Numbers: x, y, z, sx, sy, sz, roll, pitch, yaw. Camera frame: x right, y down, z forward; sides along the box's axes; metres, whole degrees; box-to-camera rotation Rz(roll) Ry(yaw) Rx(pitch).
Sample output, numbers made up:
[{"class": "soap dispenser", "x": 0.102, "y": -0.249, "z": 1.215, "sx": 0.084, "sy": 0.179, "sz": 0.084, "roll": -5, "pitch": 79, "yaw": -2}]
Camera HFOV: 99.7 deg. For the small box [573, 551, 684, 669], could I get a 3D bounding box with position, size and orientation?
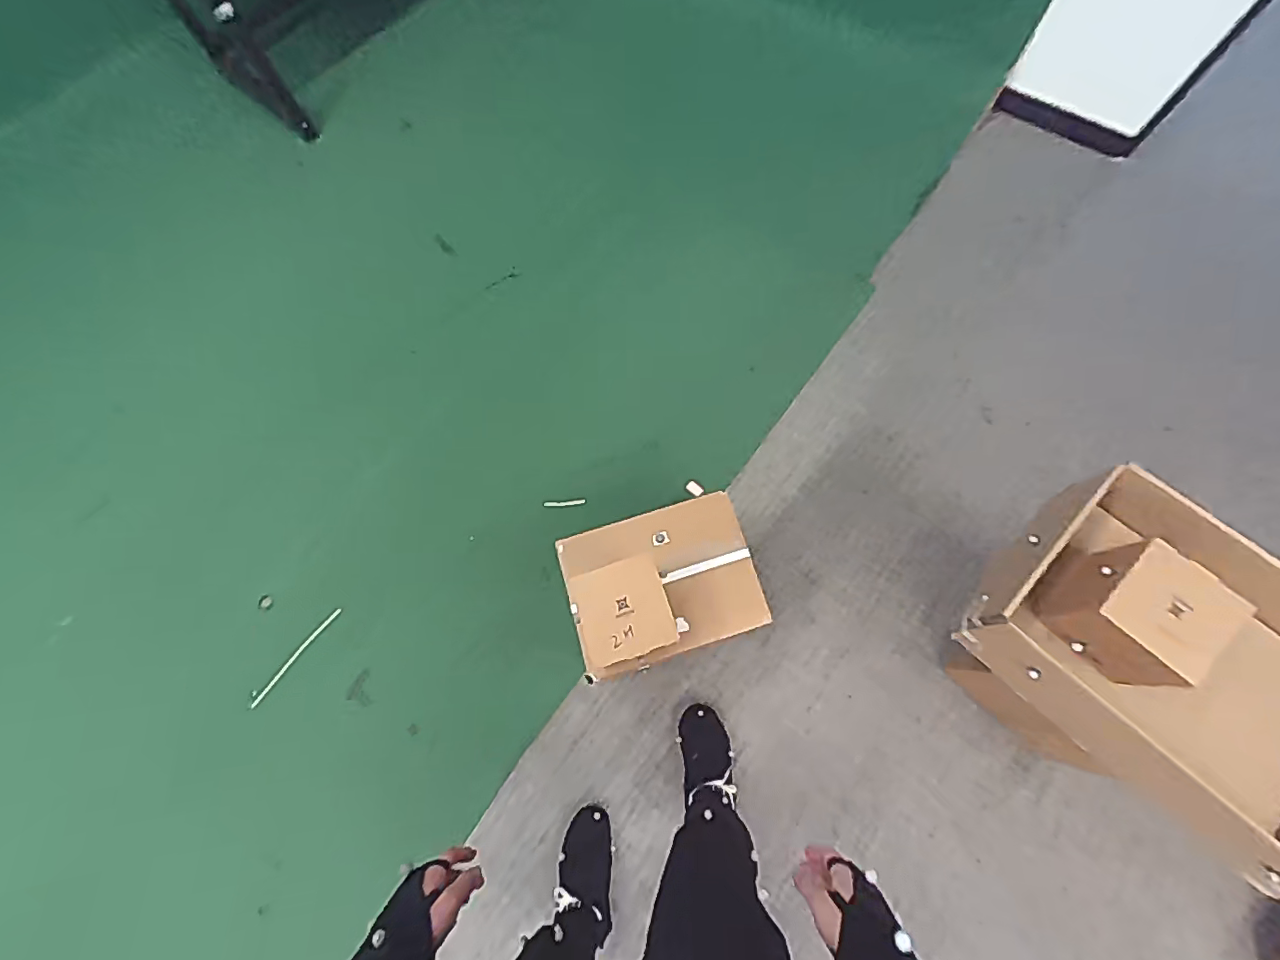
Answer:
[{"class": "small box", "x": -0.022, "y": 0.260, "z": 1.060, "sx": 0.168, "sy": 0.176, "sz": 0.179, "roll": -18, "pitch": 73, "yaw": -4}]
